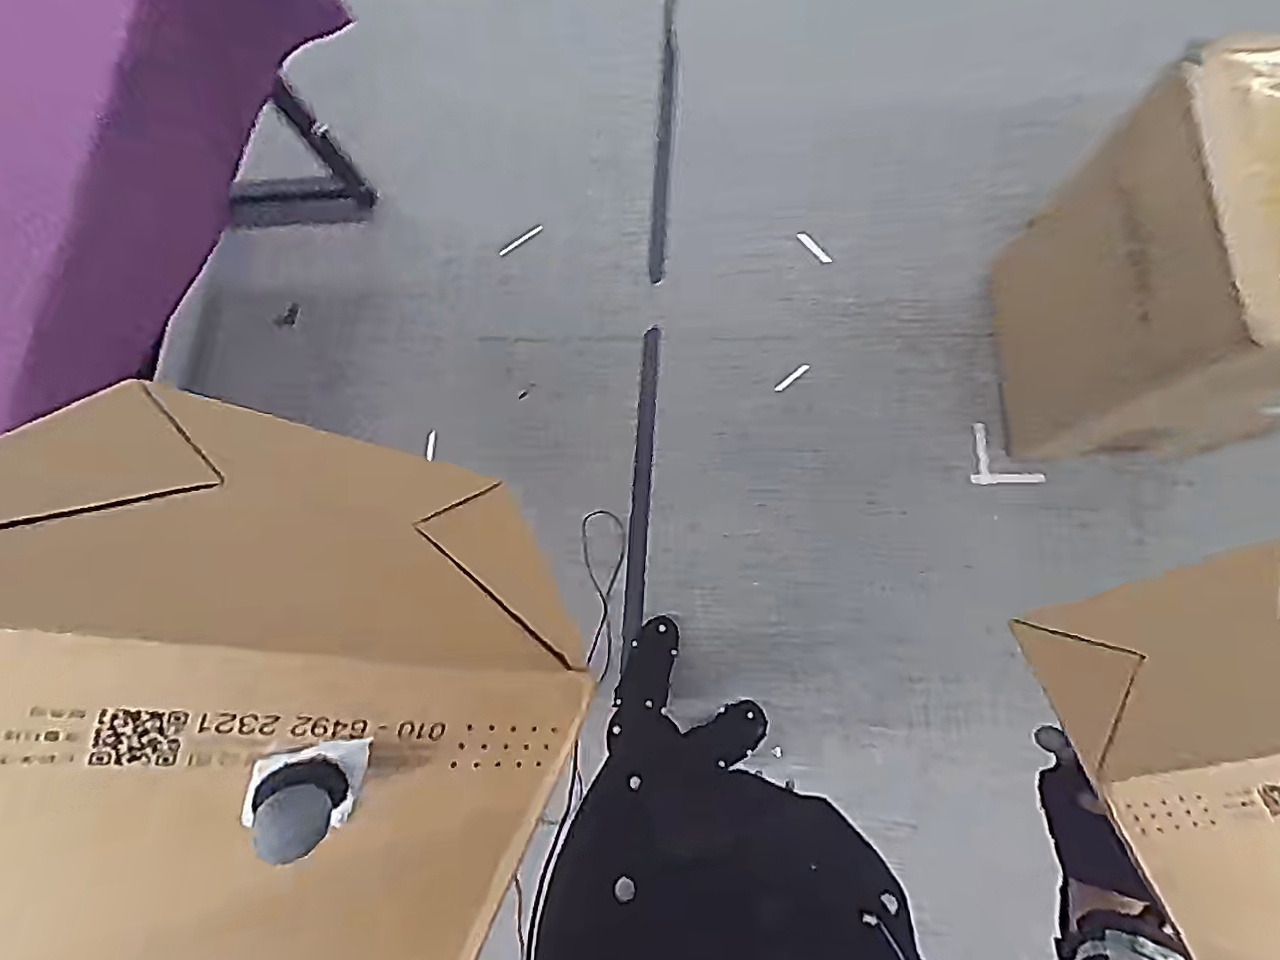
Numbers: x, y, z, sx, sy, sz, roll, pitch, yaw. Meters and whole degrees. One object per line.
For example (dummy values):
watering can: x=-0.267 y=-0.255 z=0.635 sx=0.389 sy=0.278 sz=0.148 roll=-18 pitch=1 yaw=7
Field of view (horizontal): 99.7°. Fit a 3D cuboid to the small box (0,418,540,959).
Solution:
small box: x=-0.153 y=0.085 z=0.210 sx=0.168 sy=0.179 sz=0.176 roll=14 pitch=102 yaw=-28
